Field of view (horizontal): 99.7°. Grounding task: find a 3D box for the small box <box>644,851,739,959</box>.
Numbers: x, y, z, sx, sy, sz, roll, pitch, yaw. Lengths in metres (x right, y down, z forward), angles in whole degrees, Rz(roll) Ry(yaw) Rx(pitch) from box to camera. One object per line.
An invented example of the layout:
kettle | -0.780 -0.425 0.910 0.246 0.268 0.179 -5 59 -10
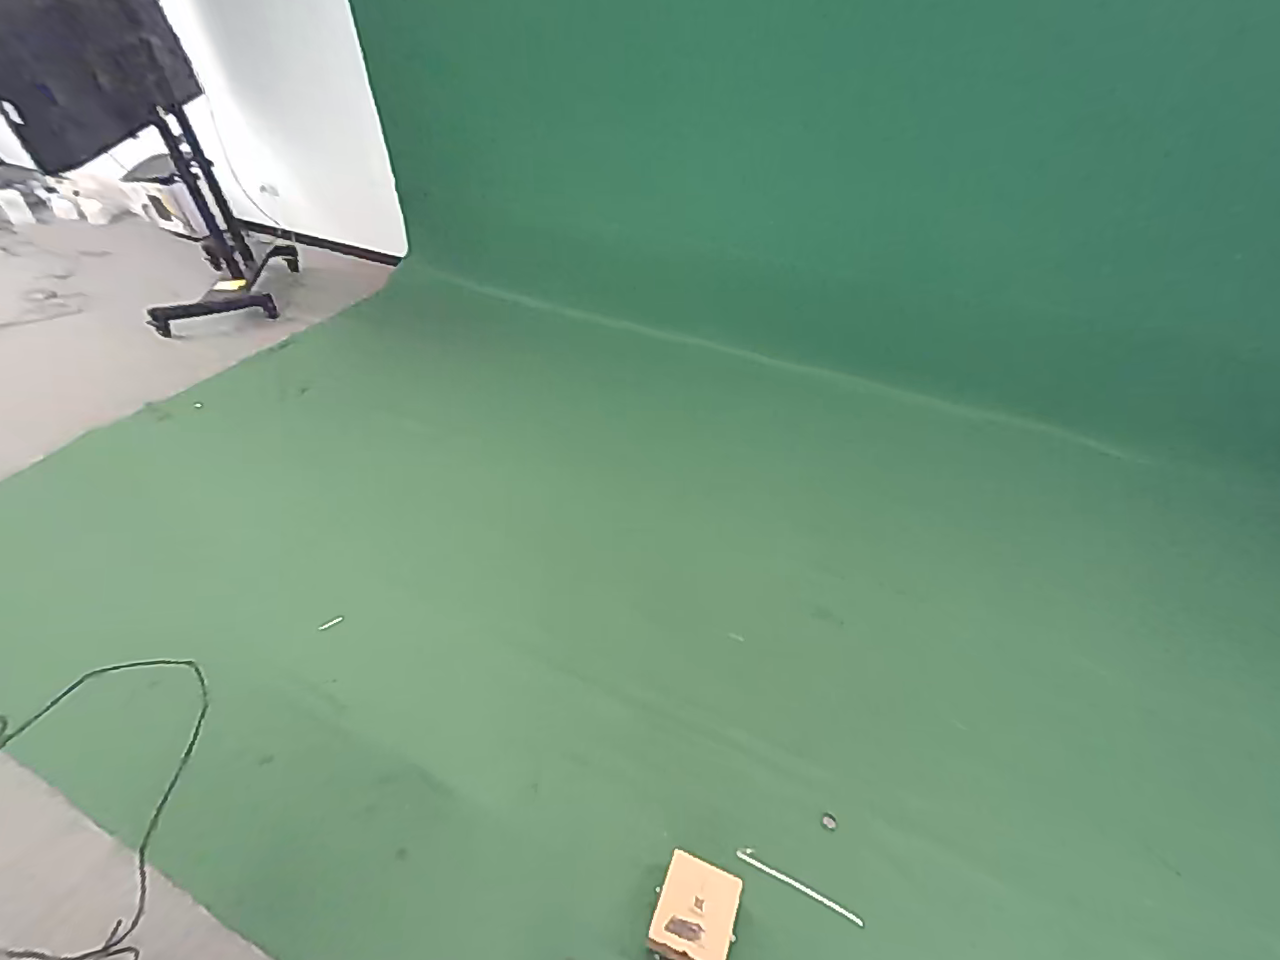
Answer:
small box | 0.115 0.998 1.230 0.168 0.176 0.179 18 45 15
